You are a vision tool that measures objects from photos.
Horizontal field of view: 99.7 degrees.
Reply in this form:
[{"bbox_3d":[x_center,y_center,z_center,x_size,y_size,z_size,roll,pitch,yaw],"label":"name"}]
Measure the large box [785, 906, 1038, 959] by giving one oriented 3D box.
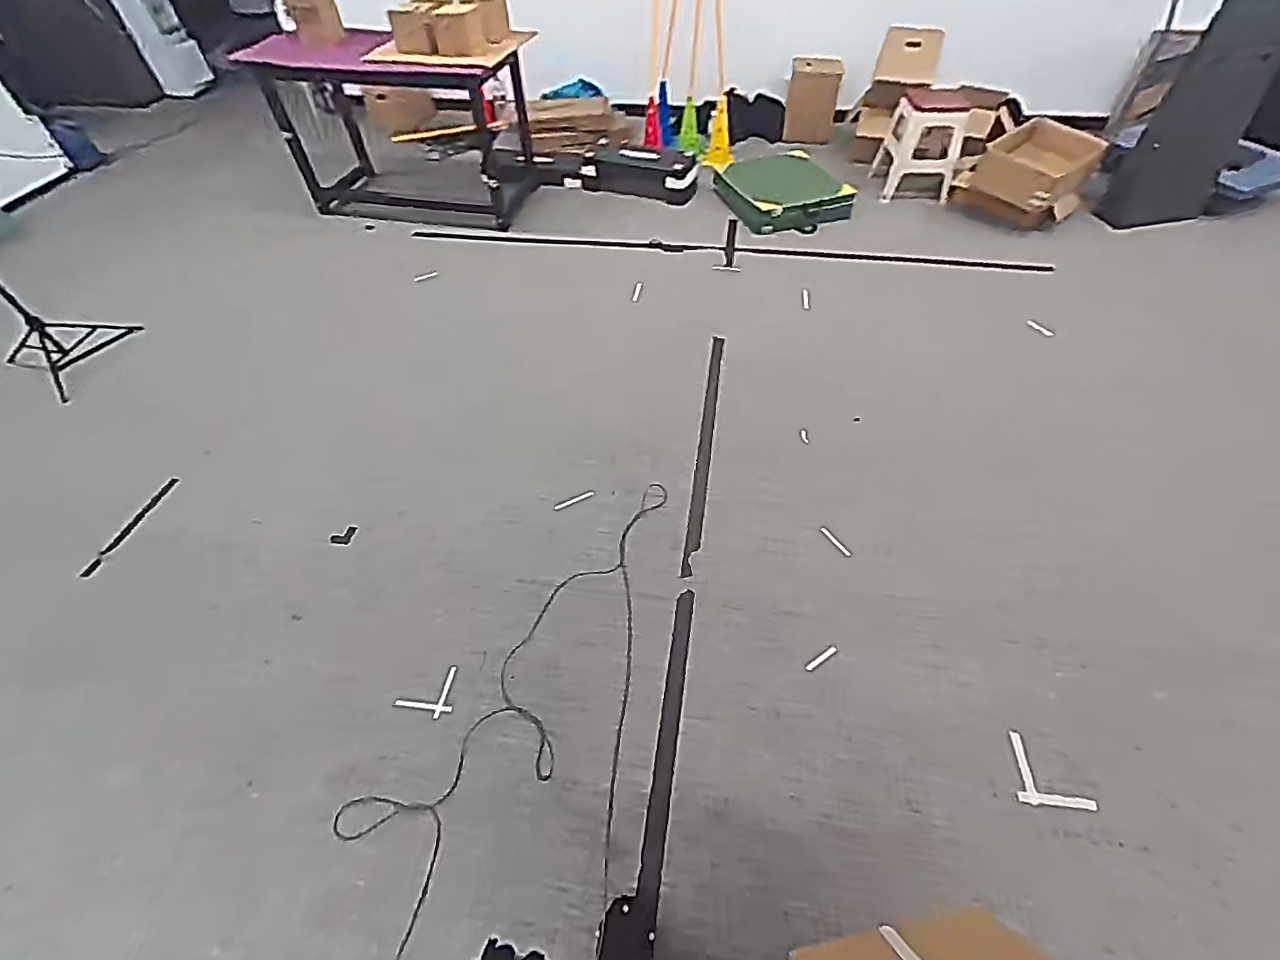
[{"bbox_3d":[0.405,0.784,0.608,0.320,0.408,0.320,-11,76,-6],"label":"large box"}]
